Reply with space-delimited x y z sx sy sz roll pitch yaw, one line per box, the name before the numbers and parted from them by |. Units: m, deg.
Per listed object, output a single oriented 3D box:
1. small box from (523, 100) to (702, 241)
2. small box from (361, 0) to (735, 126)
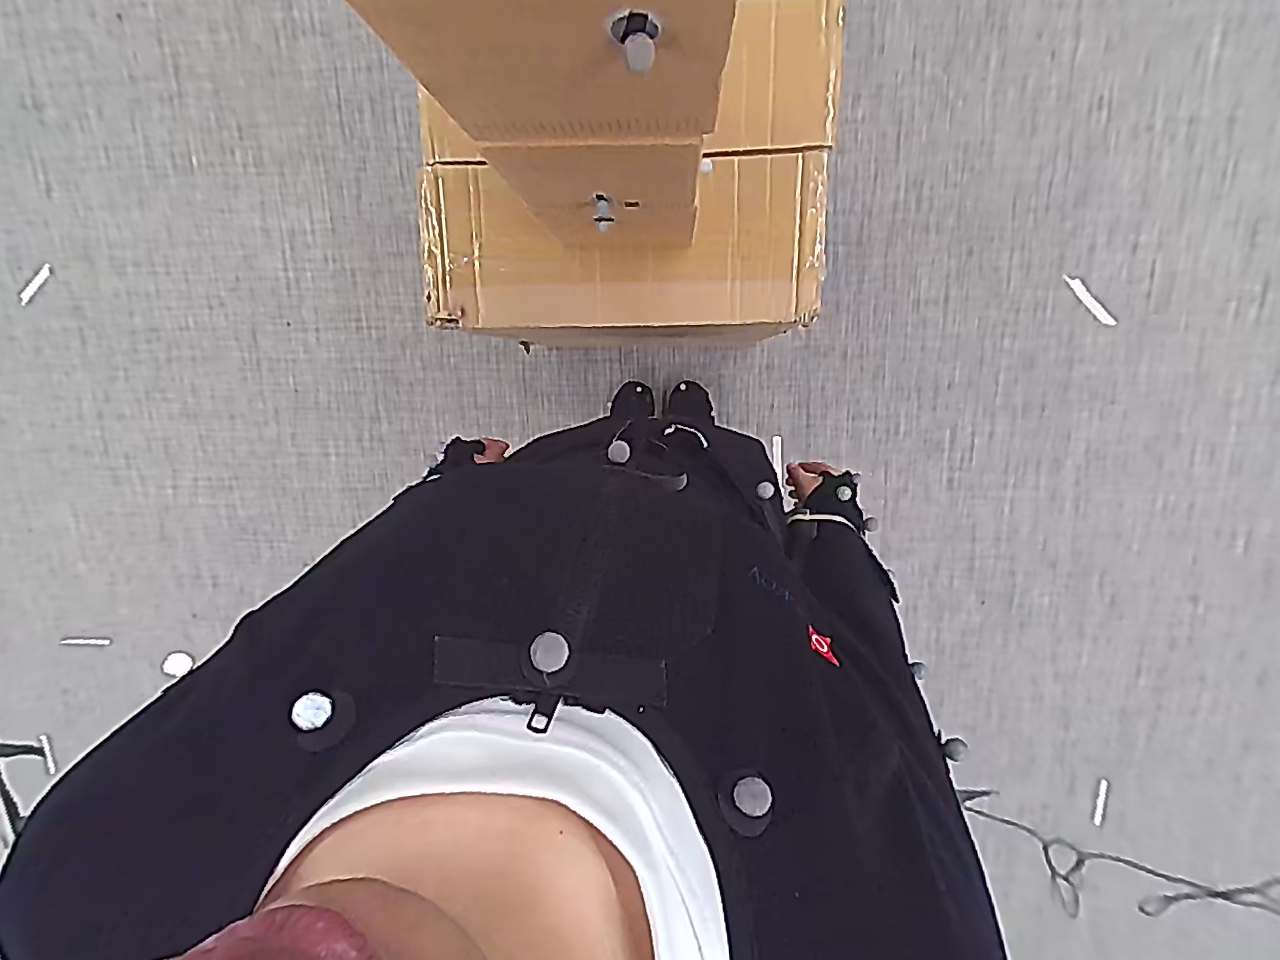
small box | -0.022 -0.371 0.599 0.179 0.176 0.168 2 102 3
small box | -0.038 -0.307 0.277 0.179 0.176 0.168 1 102 4
